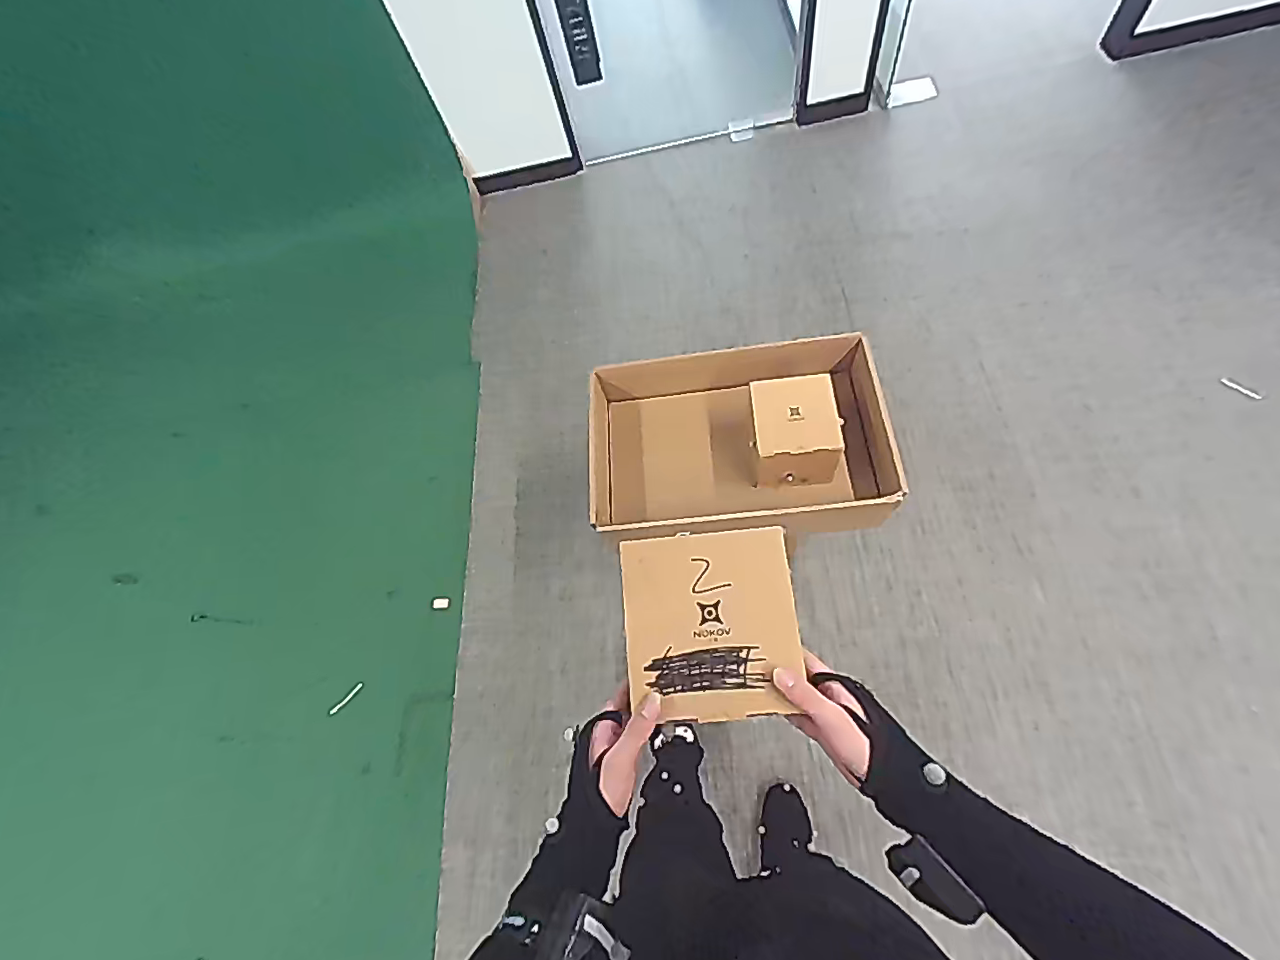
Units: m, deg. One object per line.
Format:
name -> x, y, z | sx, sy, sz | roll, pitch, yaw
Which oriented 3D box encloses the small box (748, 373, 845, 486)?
small box -> 0.323, -0.103, 1.152 | 0.168, 0.176, 0.179 | -5, 66, 7
